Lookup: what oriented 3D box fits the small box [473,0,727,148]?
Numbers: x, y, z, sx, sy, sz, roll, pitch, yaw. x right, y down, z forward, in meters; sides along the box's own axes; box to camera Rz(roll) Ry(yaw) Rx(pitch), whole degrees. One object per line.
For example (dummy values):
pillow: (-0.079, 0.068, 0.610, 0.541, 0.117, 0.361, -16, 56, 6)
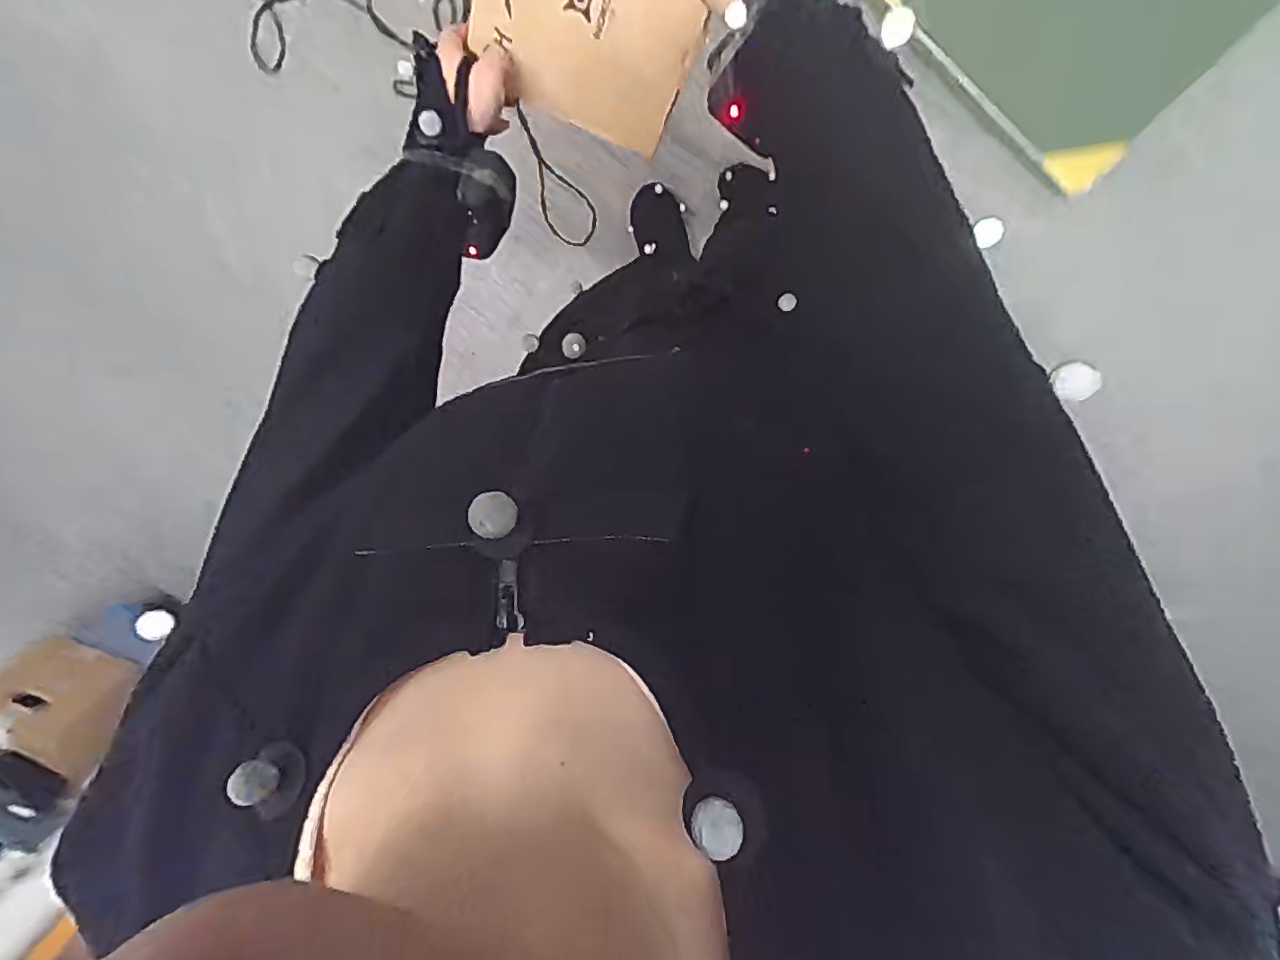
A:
small box: (-0.023, -0.436, 0.462, 0.179, 0.176, 0.168, 17, 140, -17)
